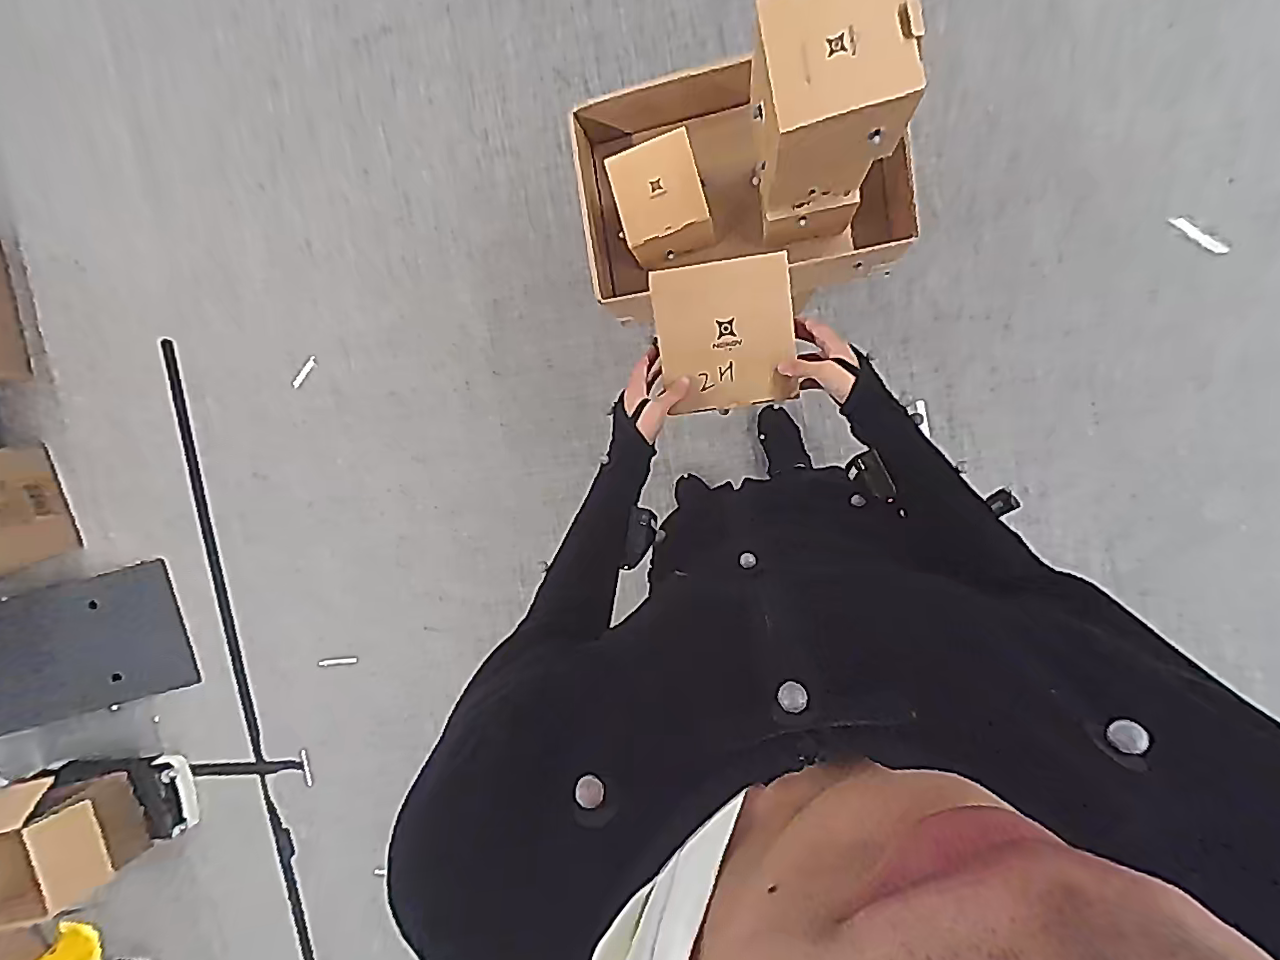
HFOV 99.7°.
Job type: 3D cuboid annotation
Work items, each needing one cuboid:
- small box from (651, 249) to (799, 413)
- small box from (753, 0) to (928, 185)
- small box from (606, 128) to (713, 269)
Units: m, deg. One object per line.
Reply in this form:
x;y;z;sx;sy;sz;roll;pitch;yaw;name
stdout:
0.105;-0.190;0.726;0.168;0.176;0.179;-8;101;4;small box
0.255;-0.533;0.727;0.179;0.176;0.168;-11;93;11;small box
0.046;-0.559;1.098;0.168;0.176;0.179;-16;93;12;small box
